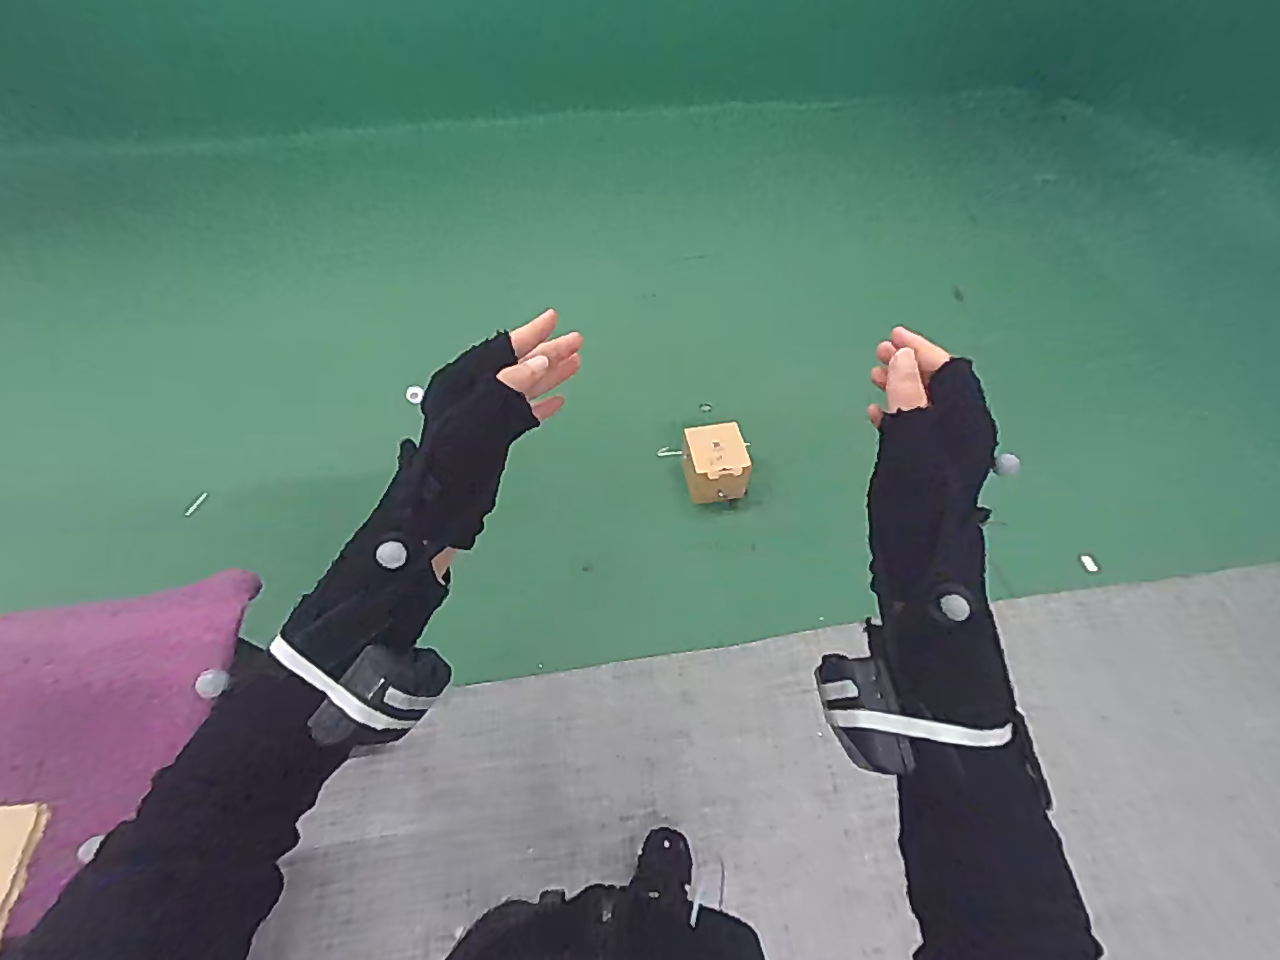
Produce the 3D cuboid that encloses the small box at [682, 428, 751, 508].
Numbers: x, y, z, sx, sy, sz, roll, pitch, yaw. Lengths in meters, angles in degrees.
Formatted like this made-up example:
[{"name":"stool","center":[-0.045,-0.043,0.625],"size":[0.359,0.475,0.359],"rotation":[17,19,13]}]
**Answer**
[{"name":"small box","center":[0.230,-0.035,1.675],"size":[0.168,0.176,0.179],"rotation":[-8,56,-5]}]
